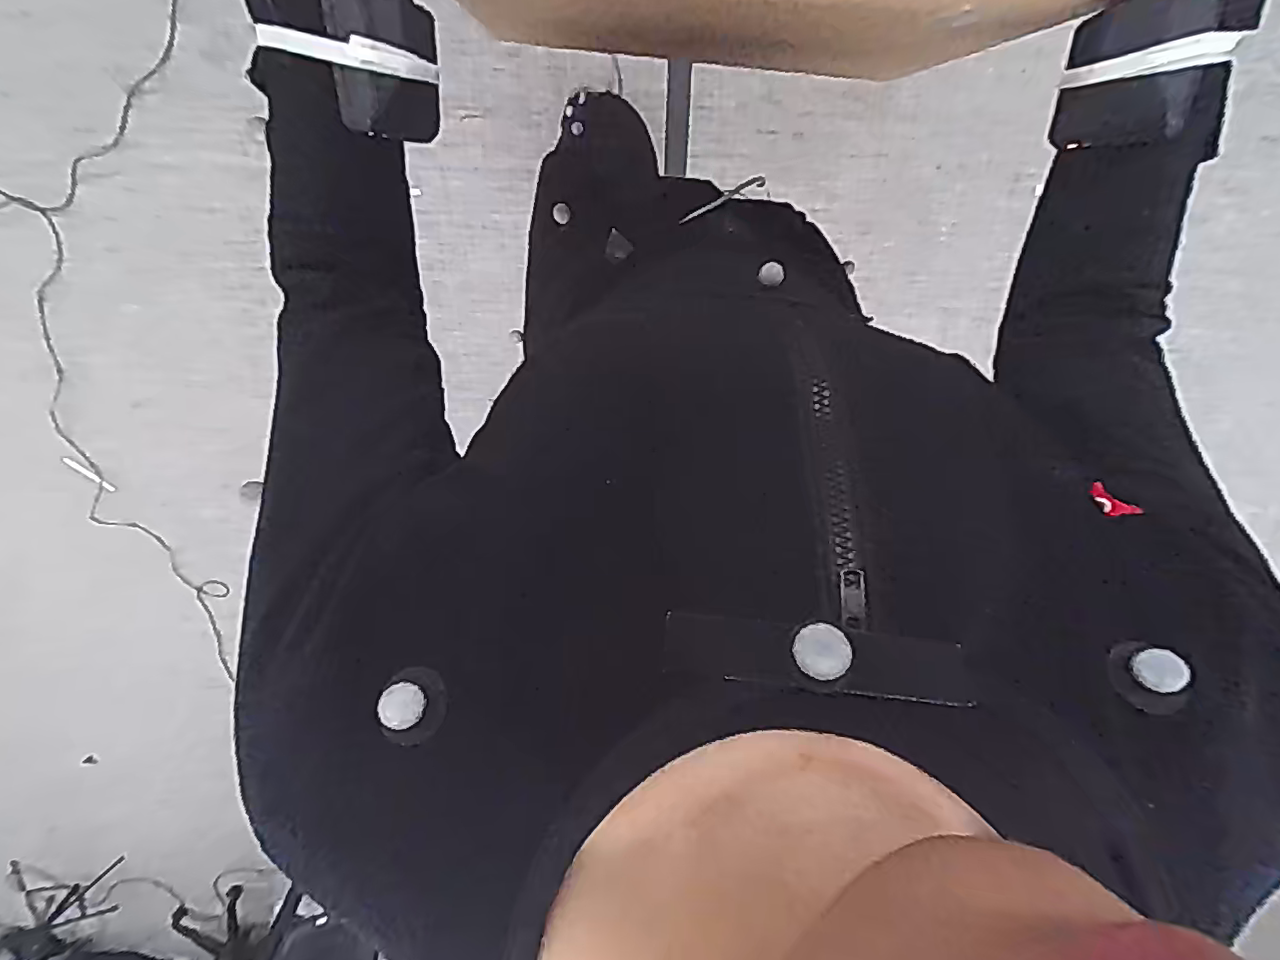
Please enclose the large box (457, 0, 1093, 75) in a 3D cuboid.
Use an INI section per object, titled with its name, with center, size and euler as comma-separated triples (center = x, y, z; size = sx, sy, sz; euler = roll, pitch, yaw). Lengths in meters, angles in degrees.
[large box]
center = 0.069, -0.473, 0.333
size = 0.408, 0.320, 0.320
euler = 3, 121, -4
